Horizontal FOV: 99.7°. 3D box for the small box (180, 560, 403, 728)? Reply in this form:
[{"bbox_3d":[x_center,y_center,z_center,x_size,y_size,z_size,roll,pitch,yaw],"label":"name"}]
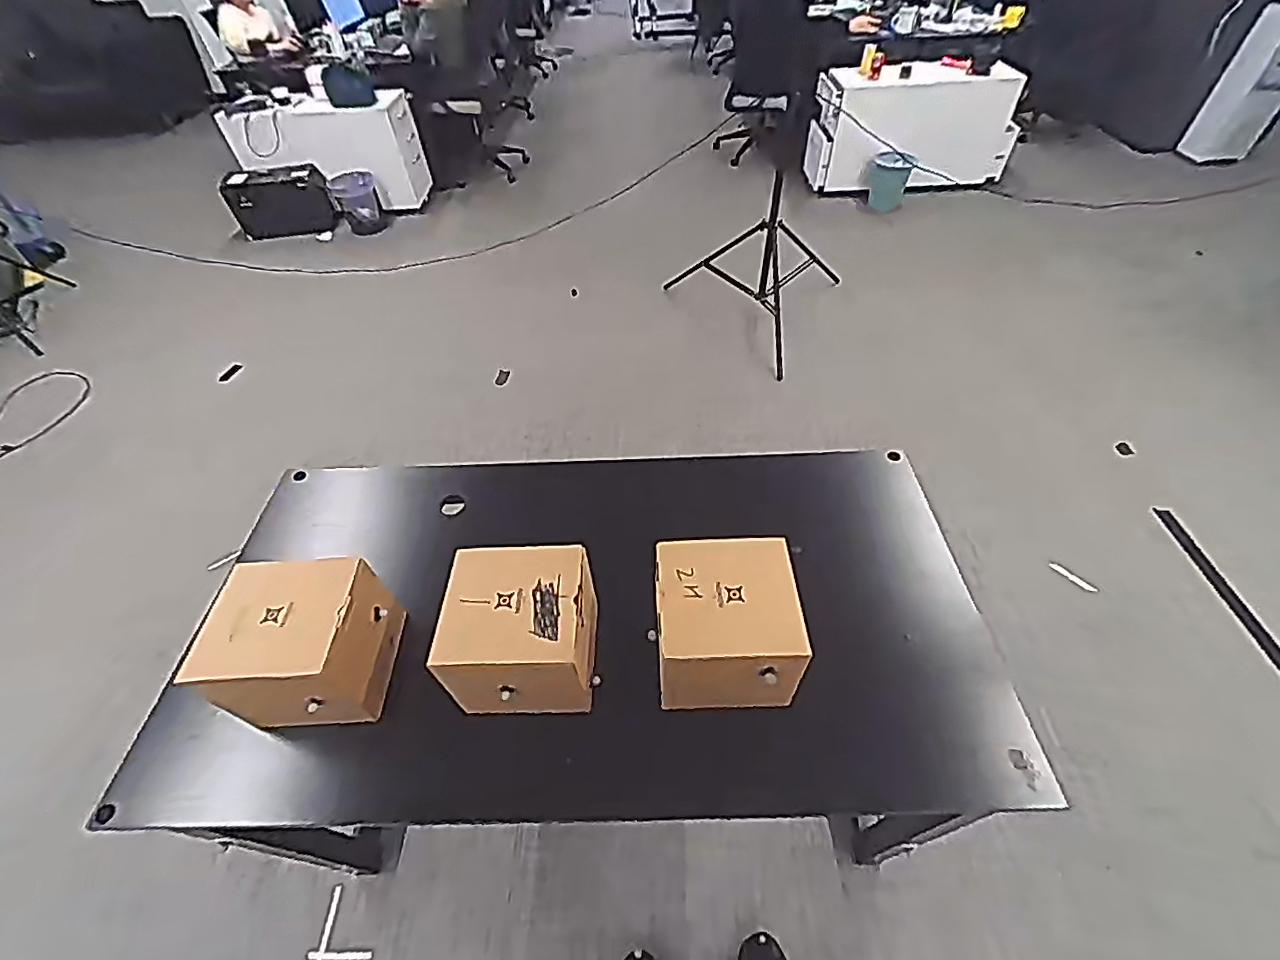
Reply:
[{"bbox_3d":[-0.453,0.228,0.744,0.179,0.176,0.168,-4,48,0],"label":"small box"}]

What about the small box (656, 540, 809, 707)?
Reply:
[{"bbox_3d":[0.111,0.197,0.735,0.179,0.176,0.168,-2,48,1],"label":"small box"}]

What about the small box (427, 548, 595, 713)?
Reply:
[{"bbox_3d":[-0.159,0.209,0.742,0.179,0.176,0.168,-2,49,3],"label":"small box"}]
